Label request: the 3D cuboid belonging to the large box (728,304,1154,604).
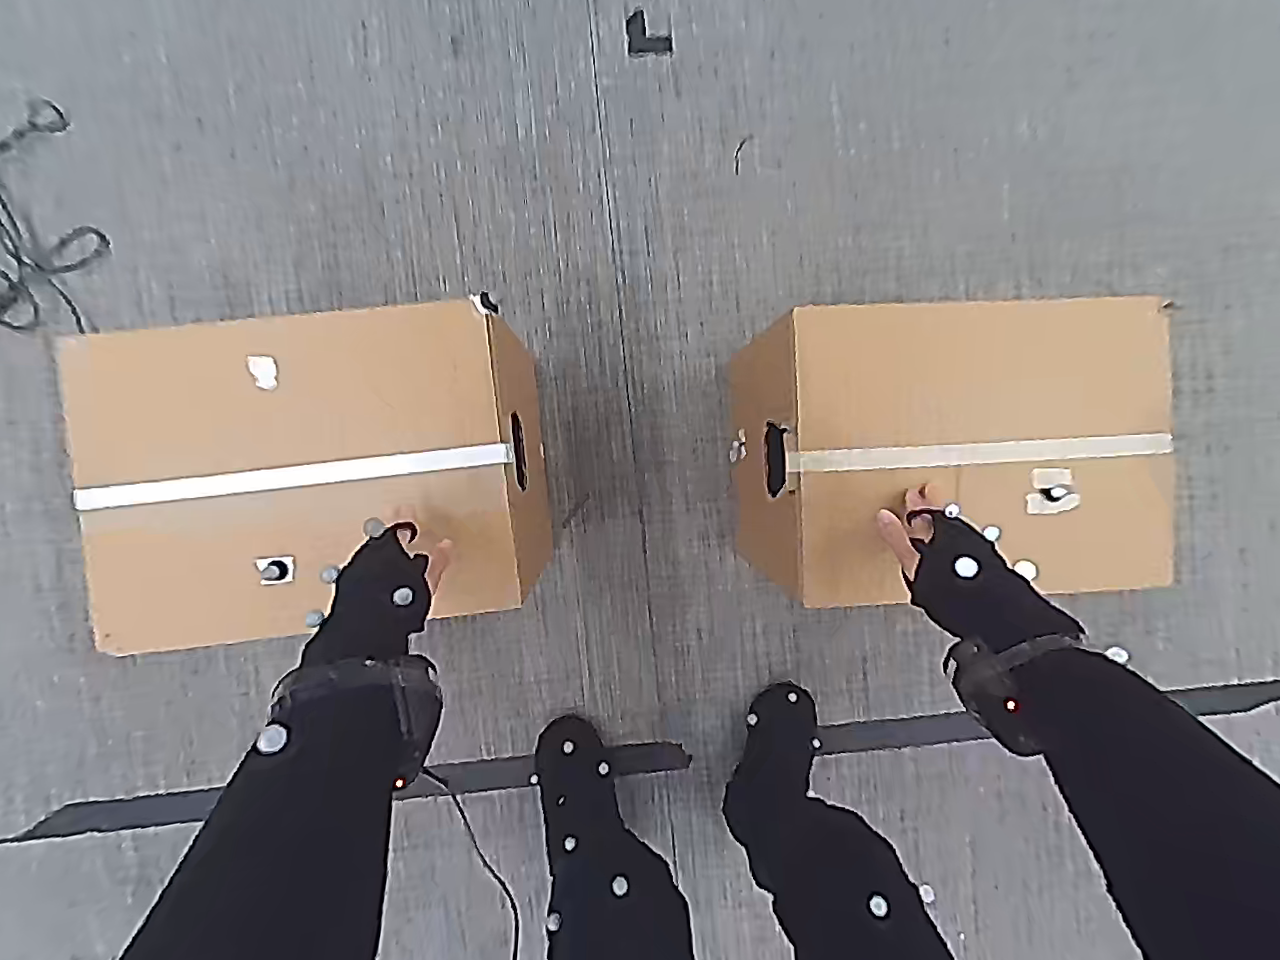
[{"bbox_3d":[0.354,-0.033,0.733,0.408,0.320,0.320,-2,92,-3],"label":"large box"}]
